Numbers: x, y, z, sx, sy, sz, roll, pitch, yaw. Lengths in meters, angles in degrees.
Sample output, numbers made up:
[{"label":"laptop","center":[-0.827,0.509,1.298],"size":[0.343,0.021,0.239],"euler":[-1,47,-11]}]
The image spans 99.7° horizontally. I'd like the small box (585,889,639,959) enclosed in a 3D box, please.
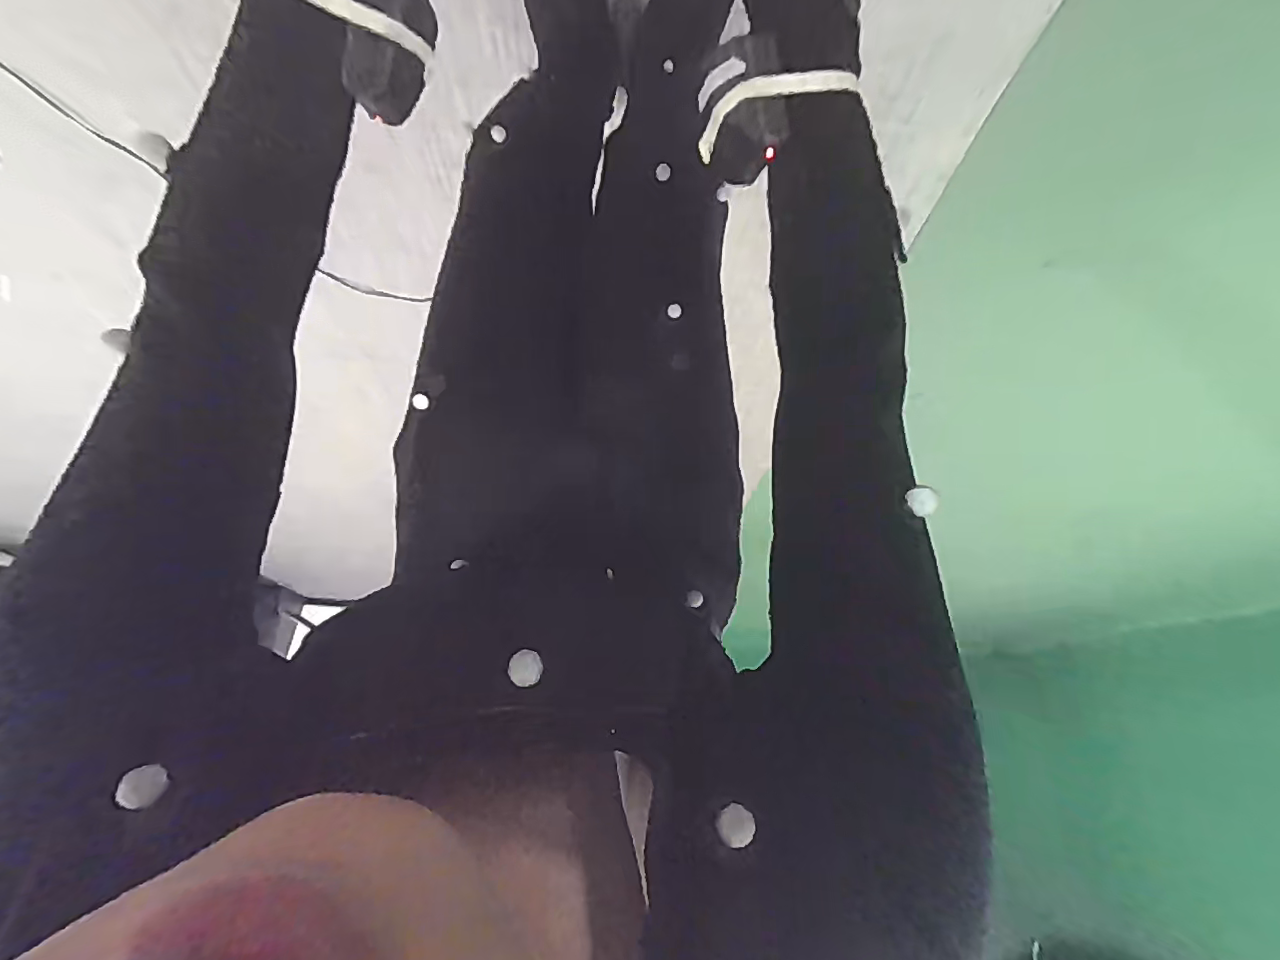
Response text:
[{"label":"small box","center":[-0.096,1.577,1.921],"size":[0.168,0.176,0.179],"euler":[3,154,6]}]
